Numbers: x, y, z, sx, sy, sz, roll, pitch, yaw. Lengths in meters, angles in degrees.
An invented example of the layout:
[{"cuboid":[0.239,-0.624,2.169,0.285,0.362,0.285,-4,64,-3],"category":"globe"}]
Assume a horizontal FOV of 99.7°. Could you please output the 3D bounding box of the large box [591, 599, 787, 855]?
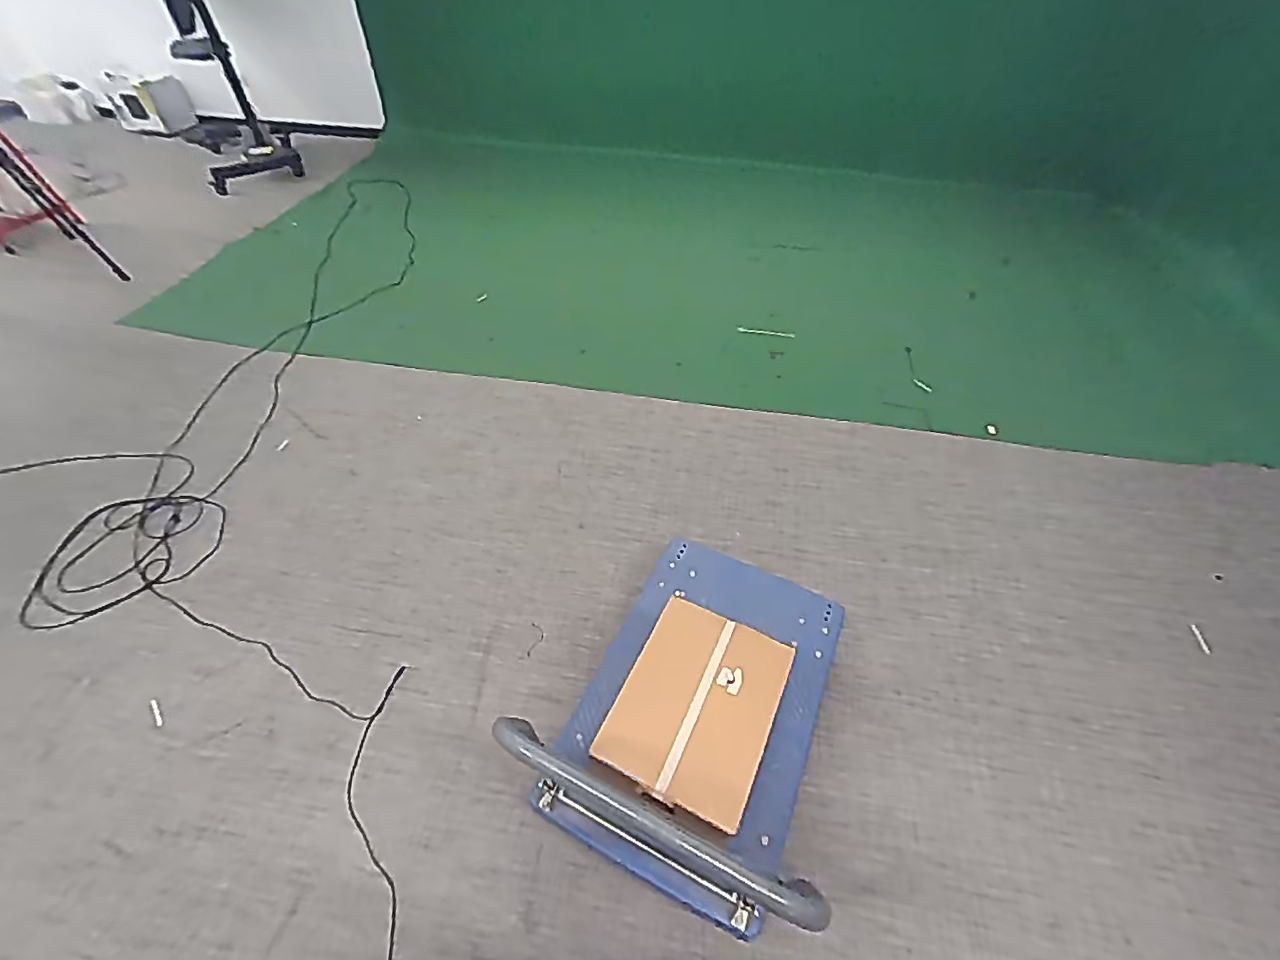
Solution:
[{"cuboid":[0.116,0.572,1.274,0.320,0.320,0.408,22,50,16],"category":"large box"}]
